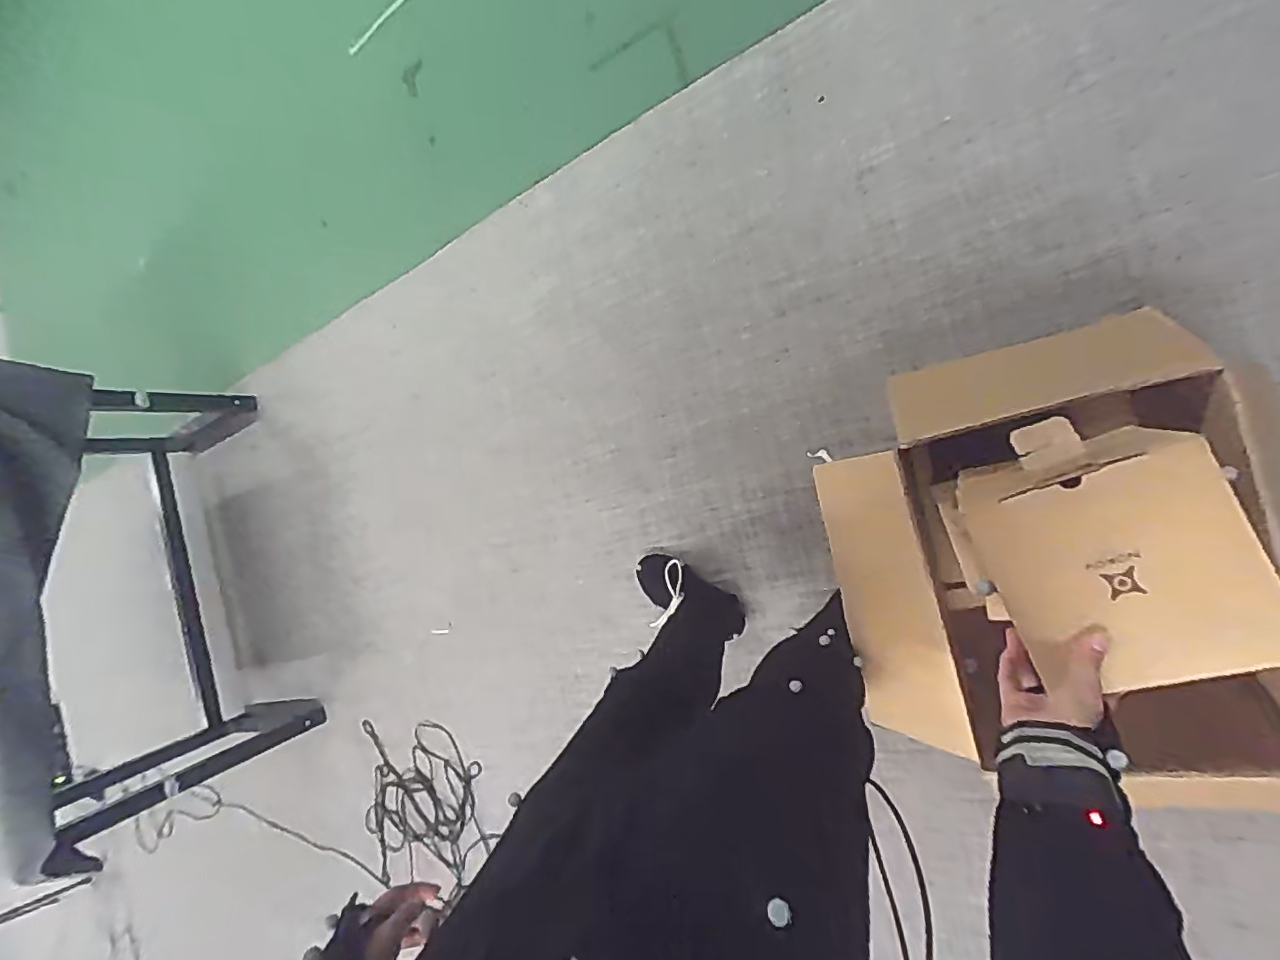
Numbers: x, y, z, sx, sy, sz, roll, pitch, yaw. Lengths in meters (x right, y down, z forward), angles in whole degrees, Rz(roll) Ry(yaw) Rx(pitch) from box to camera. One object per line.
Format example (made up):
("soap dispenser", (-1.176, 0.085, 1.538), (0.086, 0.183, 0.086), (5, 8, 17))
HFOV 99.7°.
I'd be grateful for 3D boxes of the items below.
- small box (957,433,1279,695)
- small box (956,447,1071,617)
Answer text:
("small box", (0.417, 0.066, 0.499), (0.168, 0.176, 0.179), (-26, 82, 29))
("small box", (0.490, 0.054, 0.643), (0.179, 0.176, 0.168), (-12, 90, 31))
